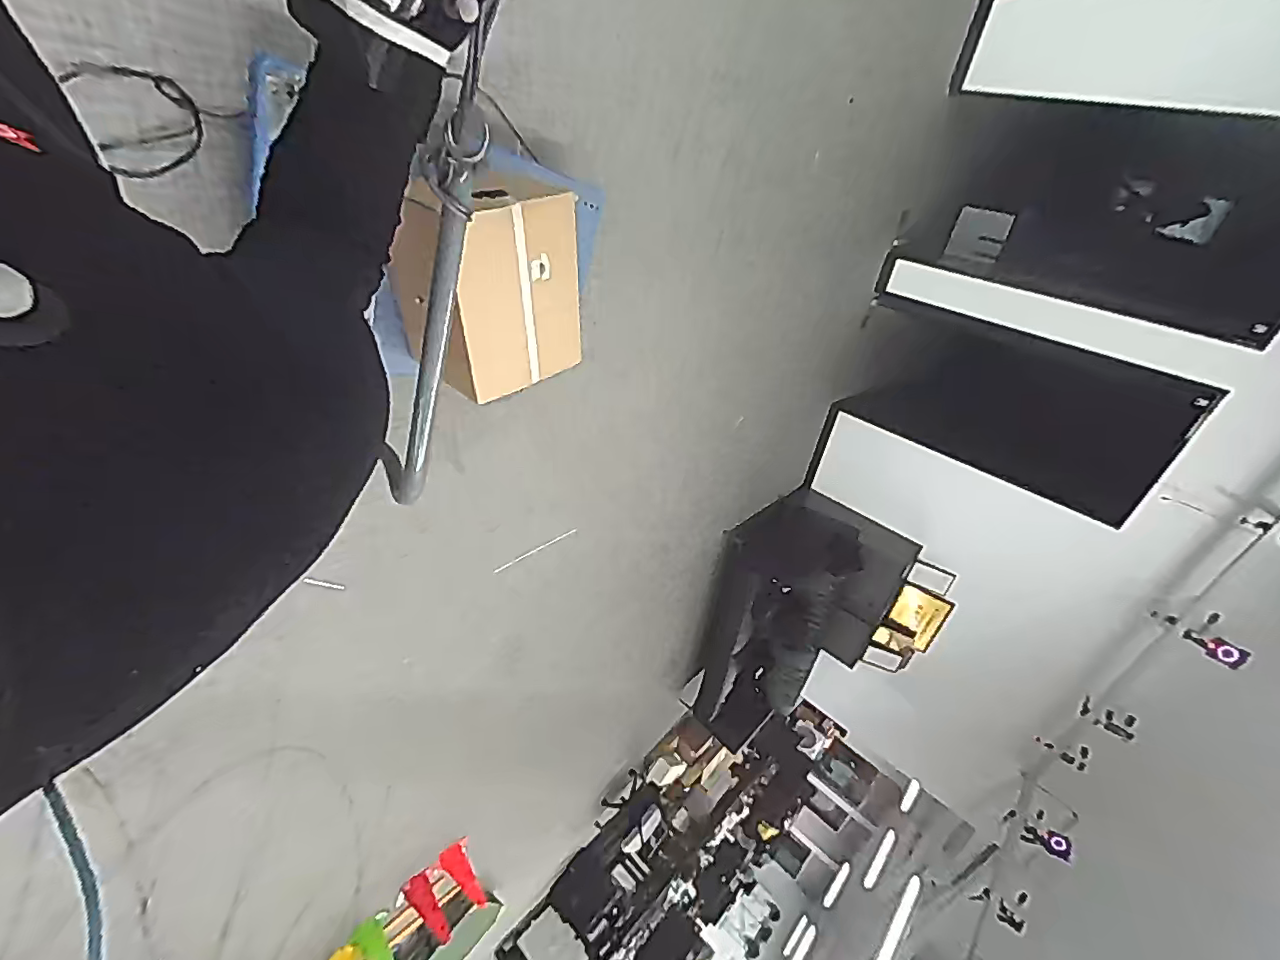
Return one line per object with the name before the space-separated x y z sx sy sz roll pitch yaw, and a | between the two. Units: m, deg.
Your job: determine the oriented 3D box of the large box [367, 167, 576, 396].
large box | -0.375 -0.474 1.271 0.320 0.320 0.408 -32 140 -34
